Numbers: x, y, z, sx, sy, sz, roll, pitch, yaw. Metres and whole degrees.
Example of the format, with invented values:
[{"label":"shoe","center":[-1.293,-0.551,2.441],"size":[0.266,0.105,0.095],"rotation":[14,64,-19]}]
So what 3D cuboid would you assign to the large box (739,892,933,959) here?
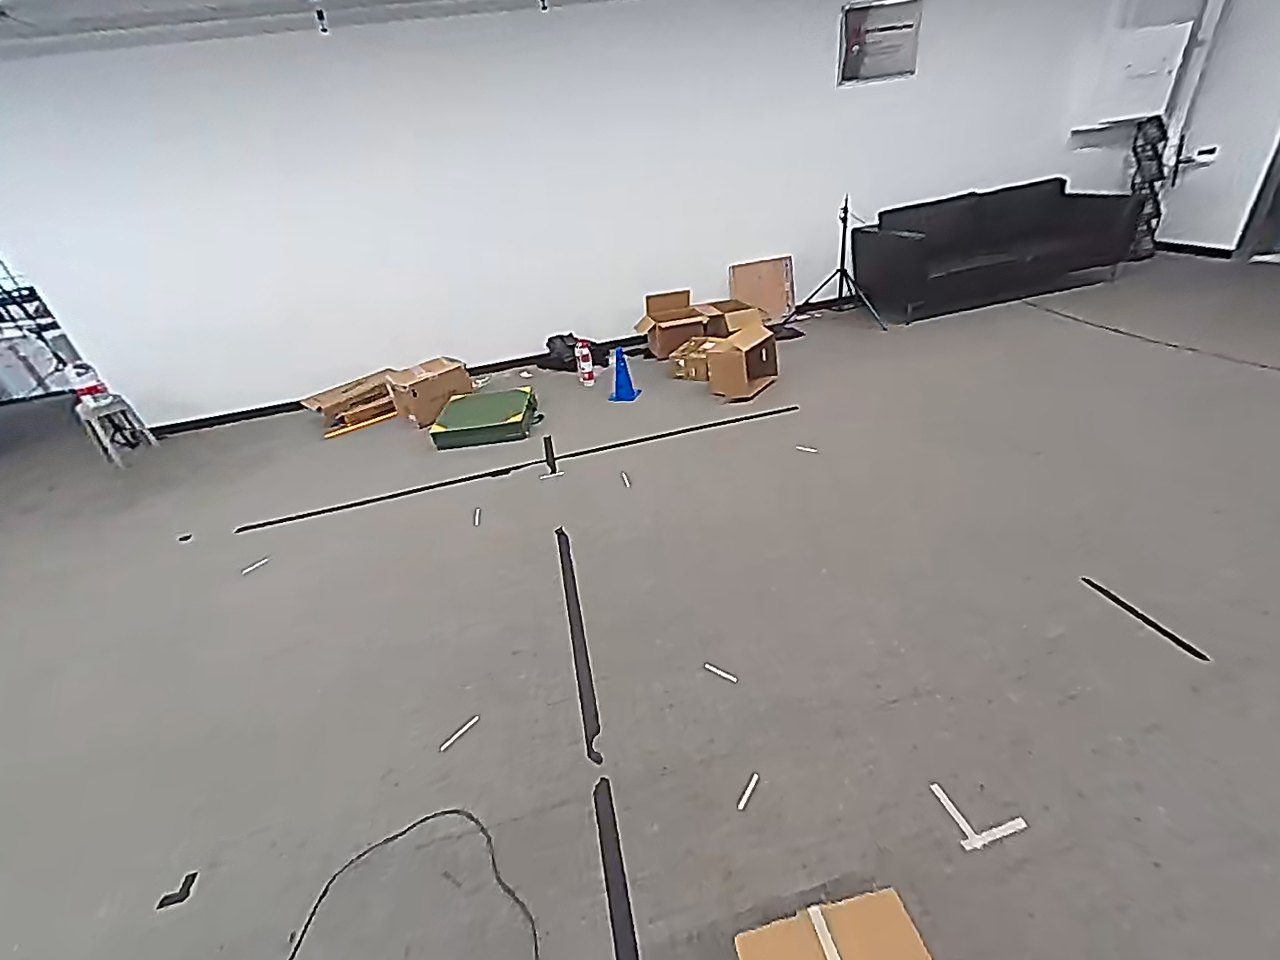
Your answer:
[{"label":"large box","center":[0.379,1.007,0.885],"size":[0.320,0.320,0.408],"rotation":[-13,32,-6]}]
